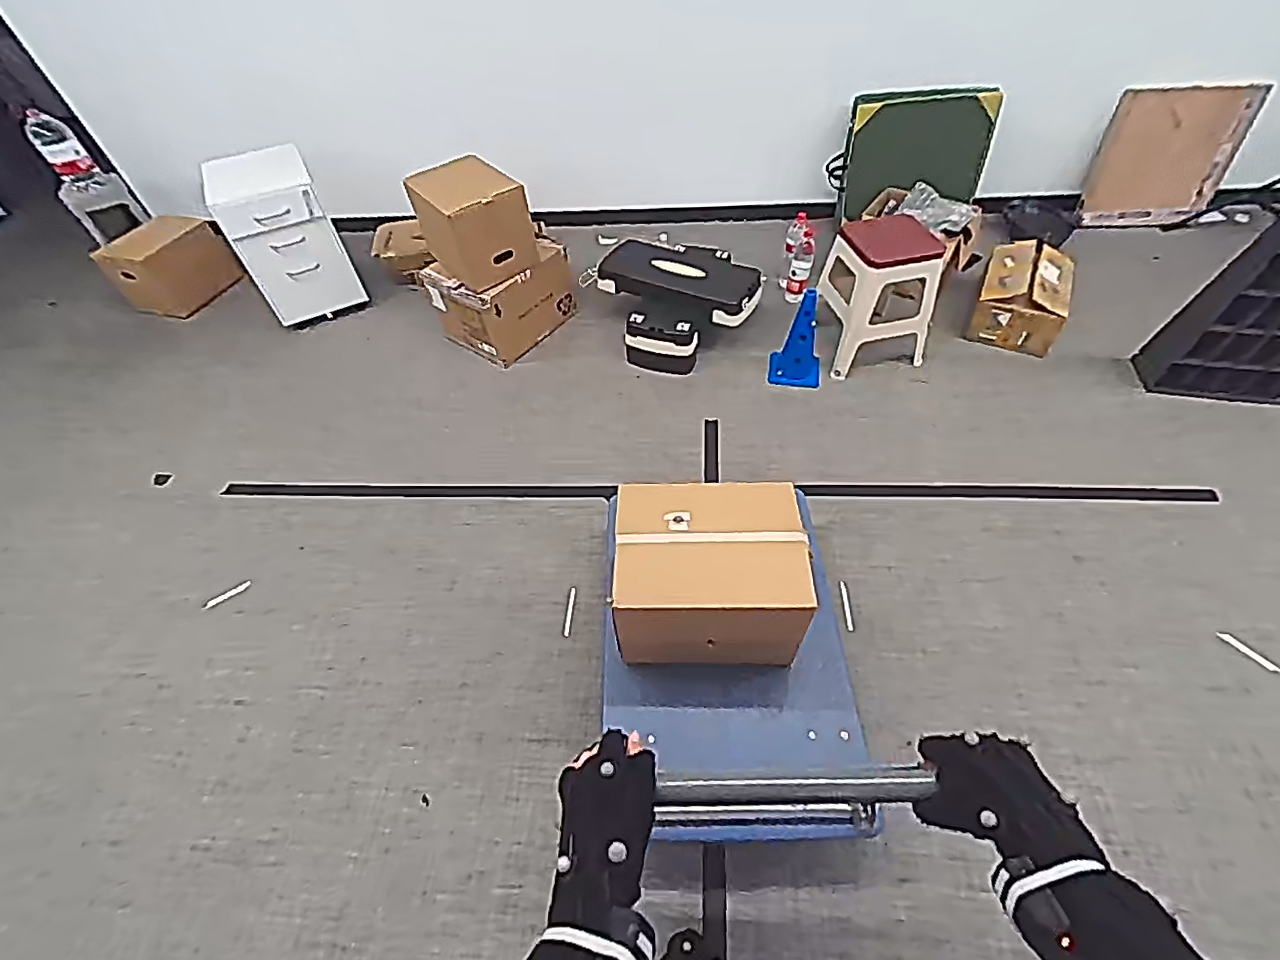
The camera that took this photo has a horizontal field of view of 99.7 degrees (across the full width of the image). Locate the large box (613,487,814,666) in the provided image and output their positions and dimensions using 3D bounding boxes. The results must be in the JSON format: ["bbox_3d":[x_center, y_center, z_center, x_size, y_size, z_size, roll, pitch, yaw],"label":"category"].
[{"bbox_3d":[0.156,0.235,1.274,0.408,0.320,0.320,-2,51,4],"label":"large box"}]
